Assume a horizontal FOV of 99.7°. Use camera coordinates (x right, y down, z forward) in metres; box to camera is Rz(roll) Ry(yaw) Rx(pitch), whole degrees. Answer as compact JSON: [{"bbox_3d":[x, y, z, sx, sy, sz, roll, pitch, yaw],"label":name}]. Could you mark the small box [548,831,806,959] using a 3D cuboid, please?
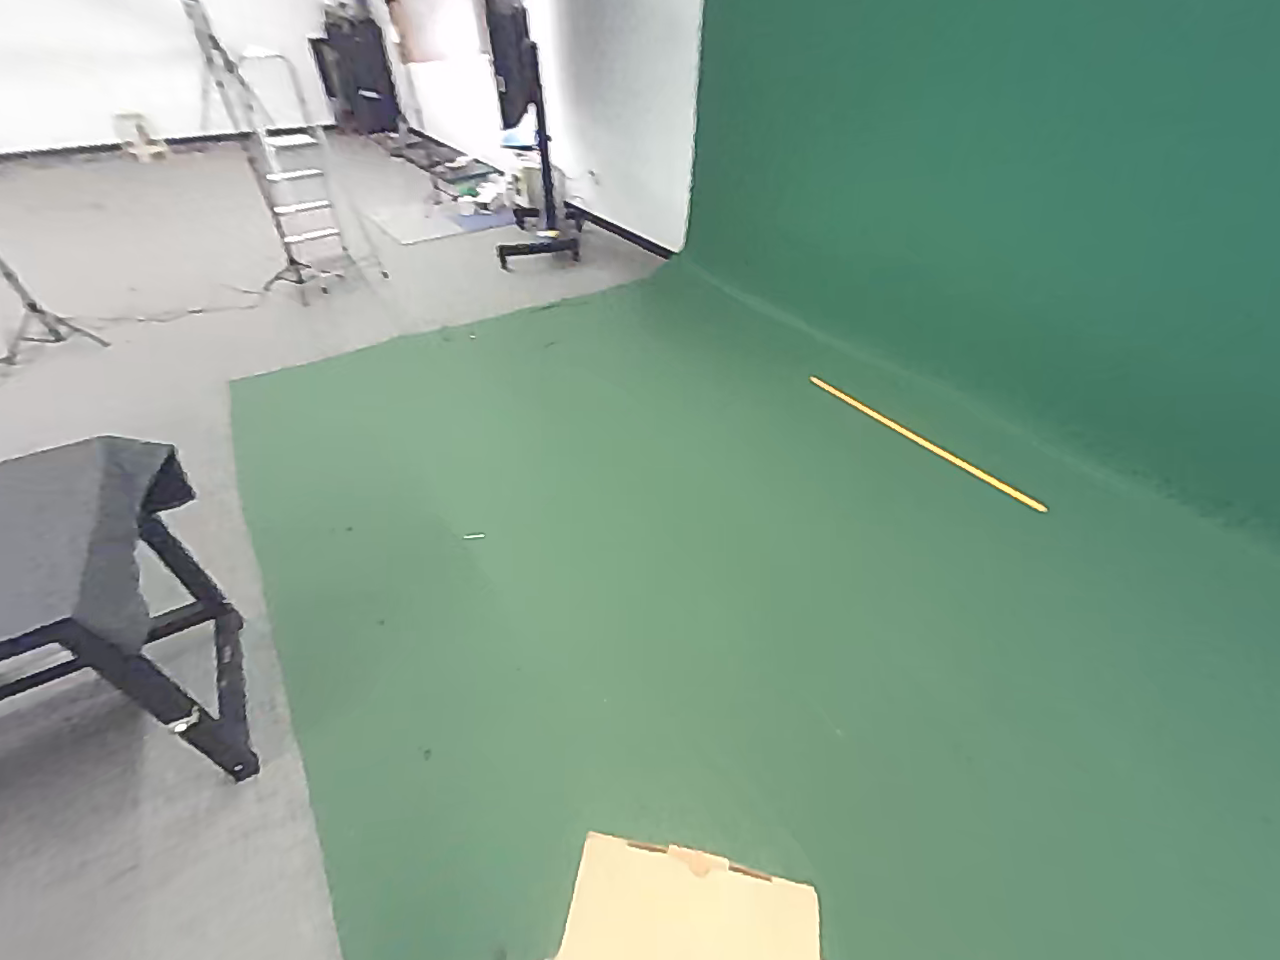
[{"bbox_3d":[0.019,0.388,0.381,0.168,0.176,0.179,8,42,9],"label":"small box"}]
